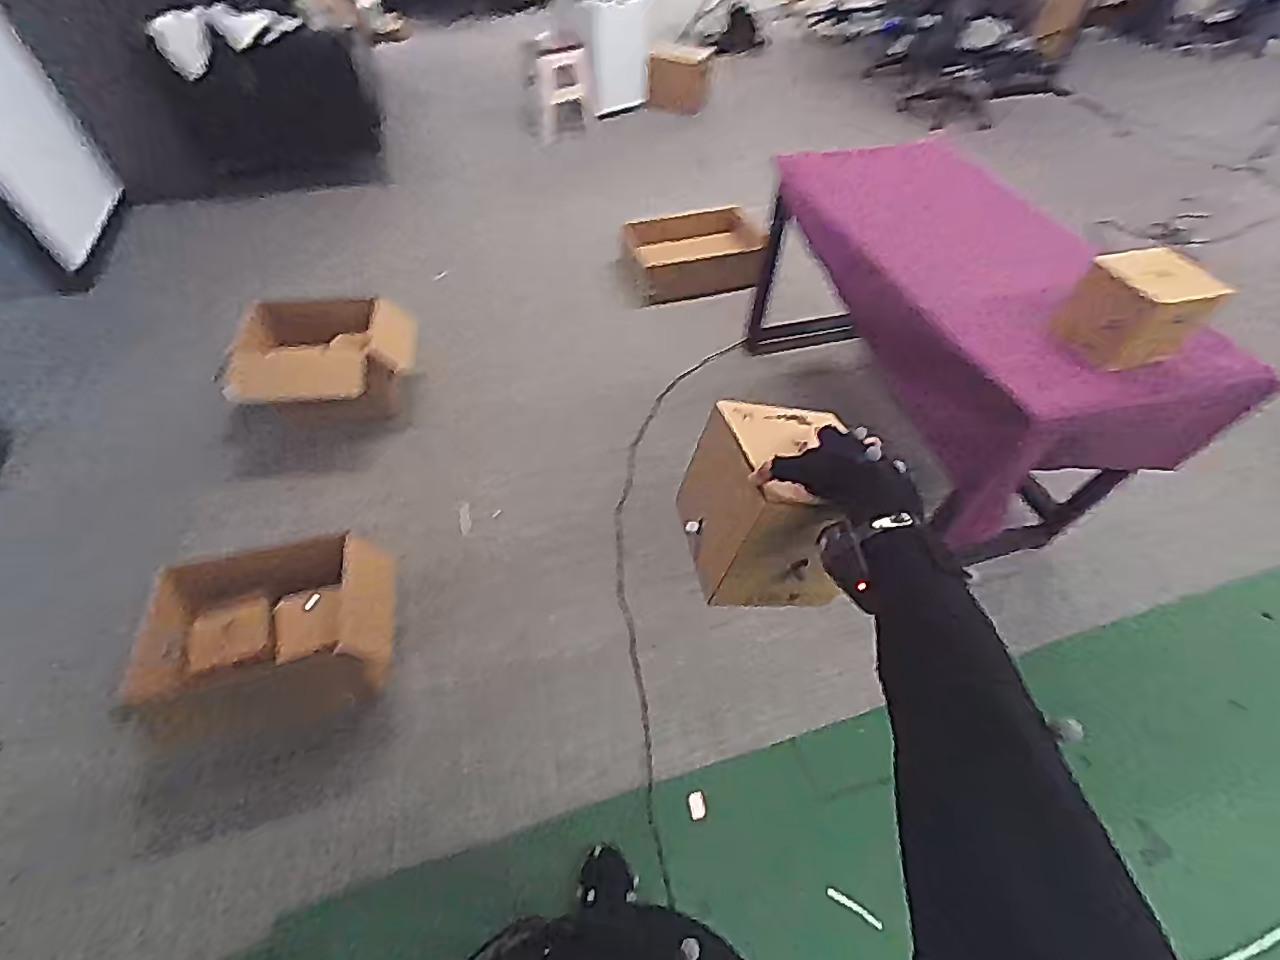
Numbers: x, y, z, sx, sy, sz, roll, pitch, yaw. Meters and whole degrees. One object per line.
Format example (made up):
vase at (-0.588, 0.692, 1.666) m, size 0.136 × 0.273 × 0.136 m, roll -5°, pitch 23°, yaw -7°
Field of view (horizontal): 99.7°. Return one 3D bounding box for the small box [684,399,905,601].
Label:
small box at (0.168, 0.029, 0.650) m, size 0.168 × 0.176 × 0.179 m, roll 6°, pitch 41°, yaw -17°

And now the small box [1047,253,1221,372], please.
small box at (0.995, -0.342, 1.116) m, size 0.179 × 0.176 × 0.168 m, roll -11°, pitch 53°, yaw -11°
